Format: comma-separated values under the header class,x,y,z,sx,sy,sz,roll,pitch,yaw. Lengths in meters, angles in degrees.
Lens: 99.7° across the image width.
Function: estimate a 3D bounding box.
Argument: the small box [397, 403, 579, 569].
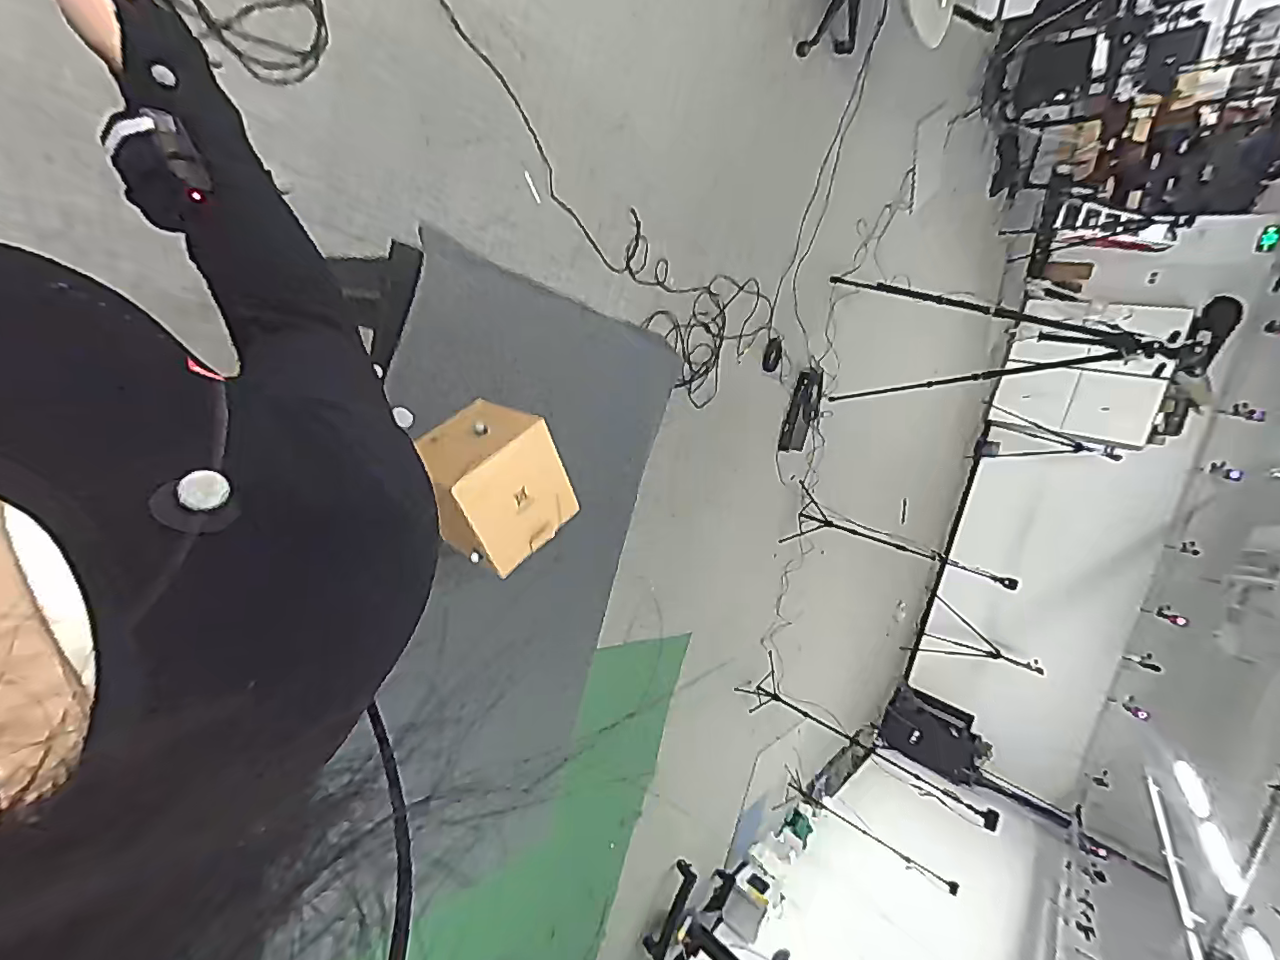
class,x,y,z,sx,sy,sz,roll,pitch,yaw
small box,-0.227,-0.002,0.815,0.168,0.176,0.179,-44,135,-30
